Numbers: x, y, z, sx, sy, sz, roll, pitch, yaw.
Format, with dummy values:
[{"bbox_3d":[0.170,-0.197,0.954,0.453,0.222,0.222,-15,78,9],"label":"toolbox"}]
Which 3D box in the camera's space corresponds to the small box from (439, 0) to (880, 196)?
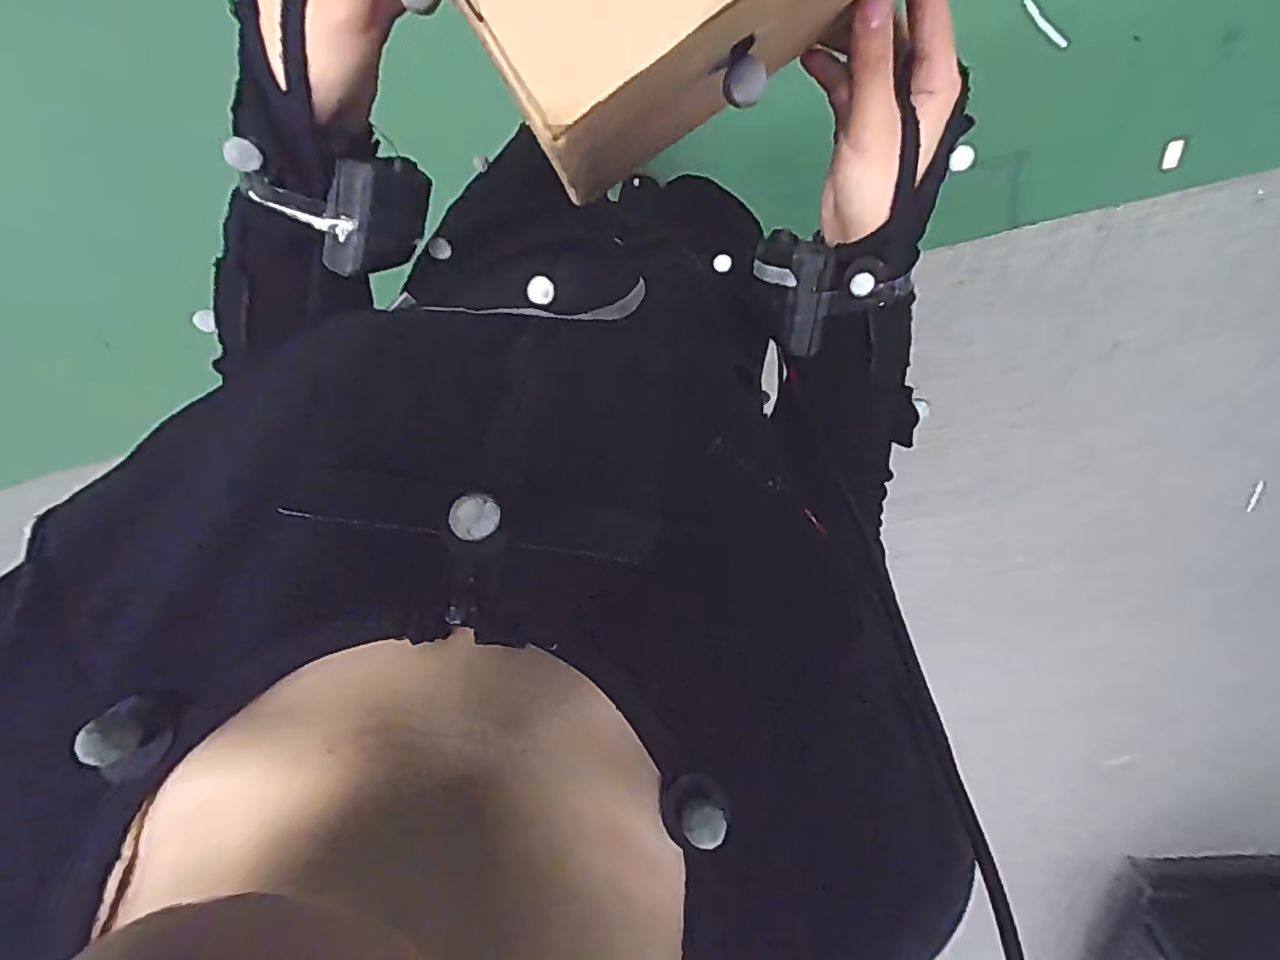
[{"bbox_3d":[0.003,-0.220,0.175,0.179,0.176,0.168,-30,110,9],"label":"small box"}]
